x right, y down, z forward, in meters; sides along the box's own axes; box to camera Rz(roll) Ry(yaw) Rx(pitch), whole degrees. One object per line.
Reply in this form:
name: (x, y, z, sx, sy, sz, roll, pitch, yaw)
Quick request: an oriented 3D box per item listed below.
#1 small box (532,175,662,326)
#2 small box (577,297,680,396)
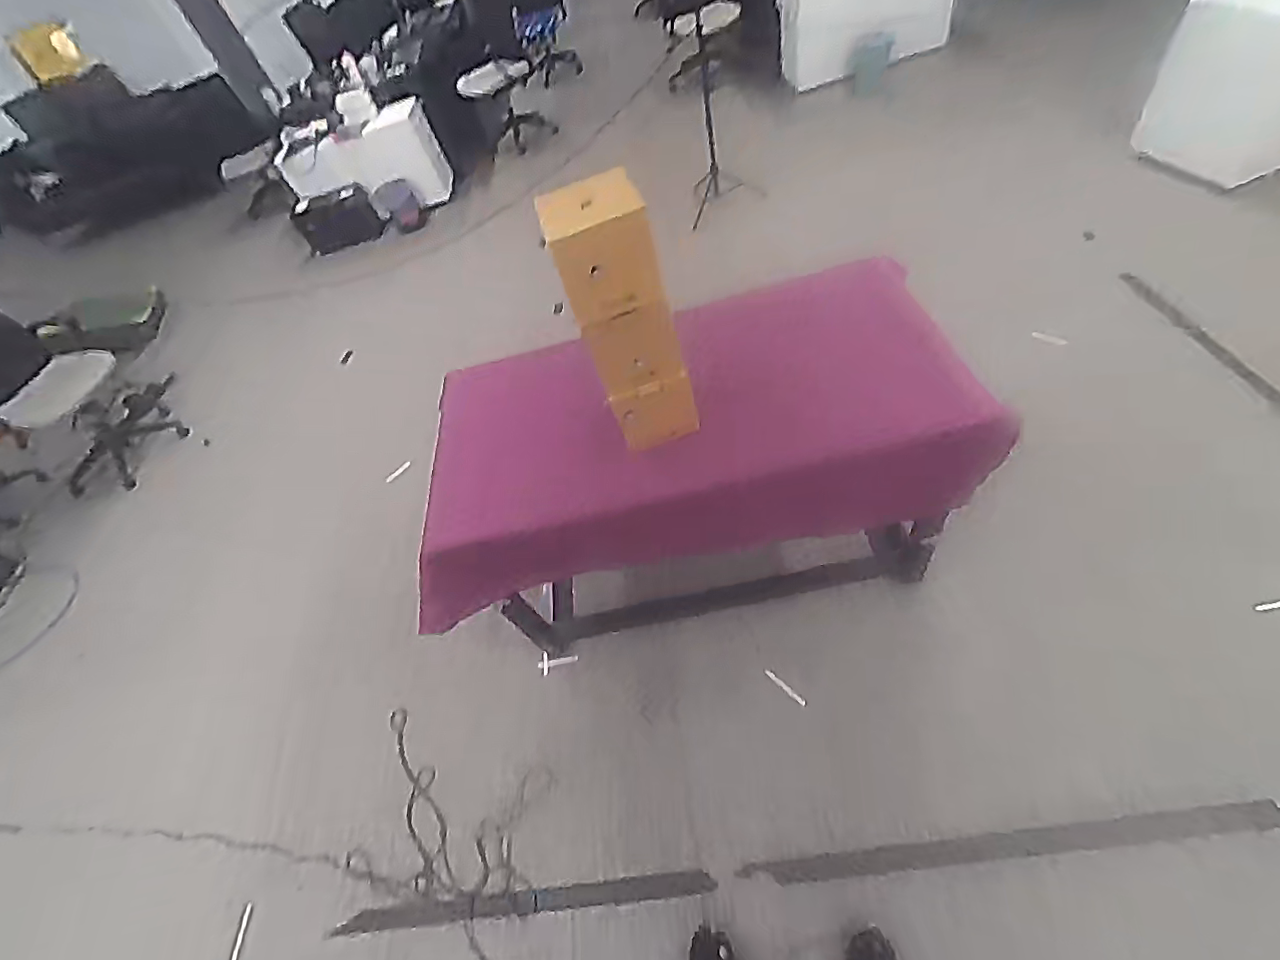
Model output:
small box: (-0.072, -0.393, 0.948, 0.168, 0.176, 0.179, -21, 48, 1)
small box: (-0.030, -0.298, 1.073, 0.168, 0.176, 0.179, -19, 50, 3)
